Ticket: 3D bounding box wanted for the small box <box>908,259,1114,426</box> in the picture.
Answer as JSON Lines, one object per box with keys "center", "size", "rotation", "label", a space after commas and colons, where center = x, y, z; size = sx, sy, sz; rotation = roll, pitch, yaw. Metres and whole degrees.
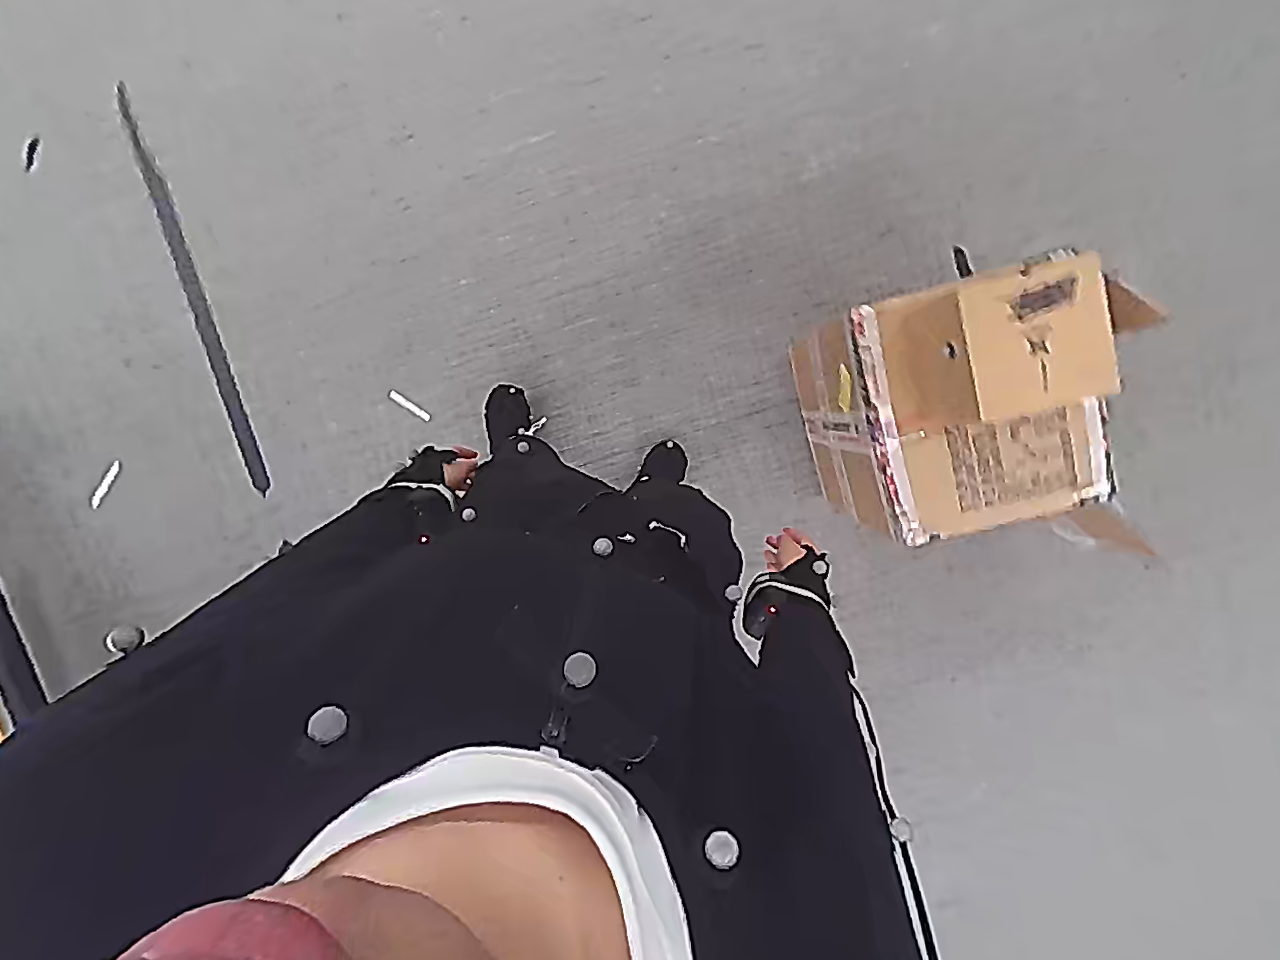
{"center": [0.495, -0.176, 0.749], "size": [0.168, 0.176, 0.179], "rotation": [-13, 96, 7], "label": "small box"}
